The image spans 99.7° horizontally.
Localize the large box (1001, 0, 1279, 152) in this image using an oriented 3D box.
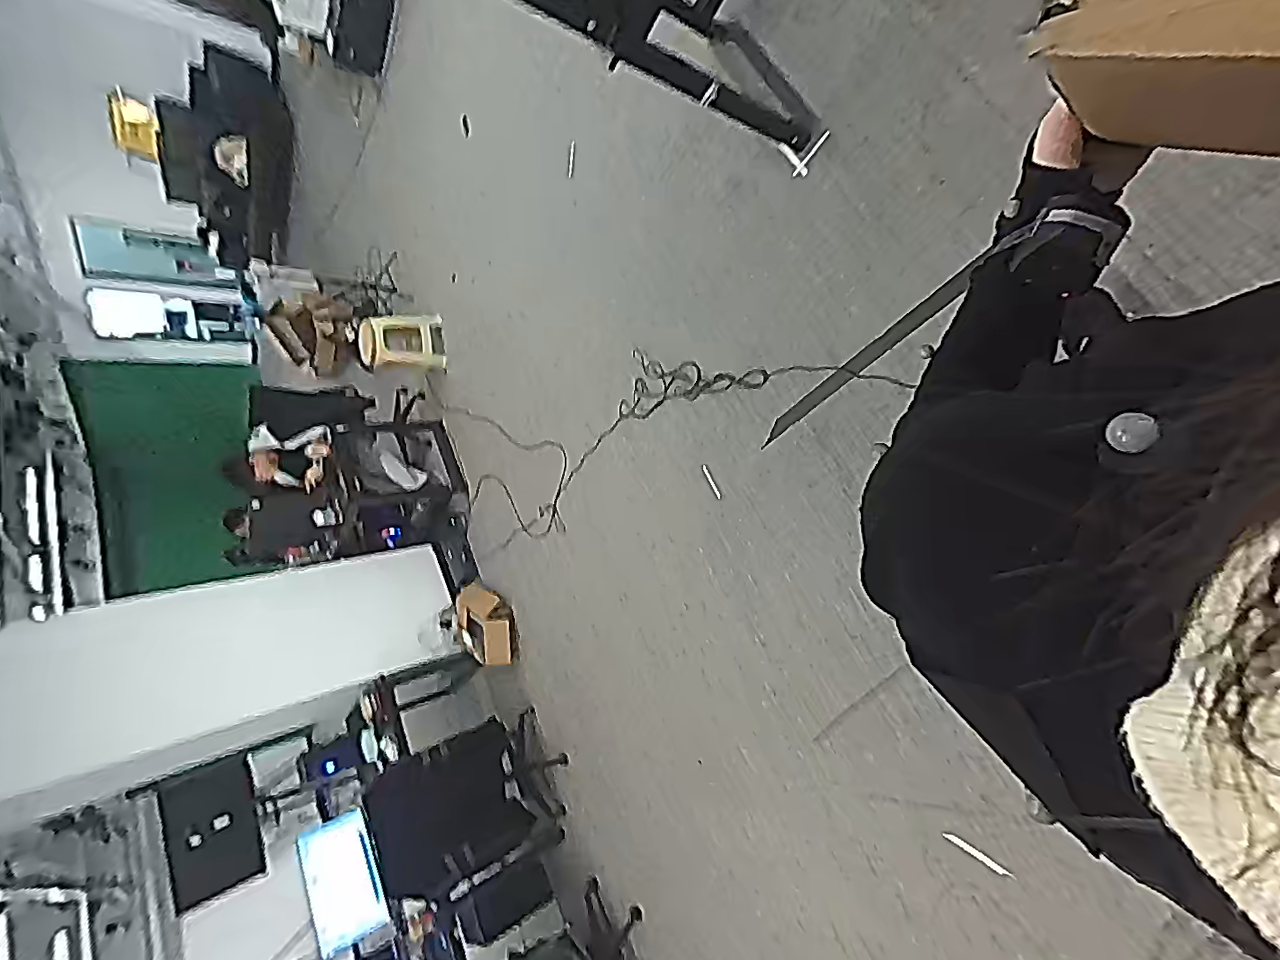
[{"bbox_3d":[0.413,-0.272,0.145,0.408,0.320,0.320,29,126,33],"label":"large box"}]
